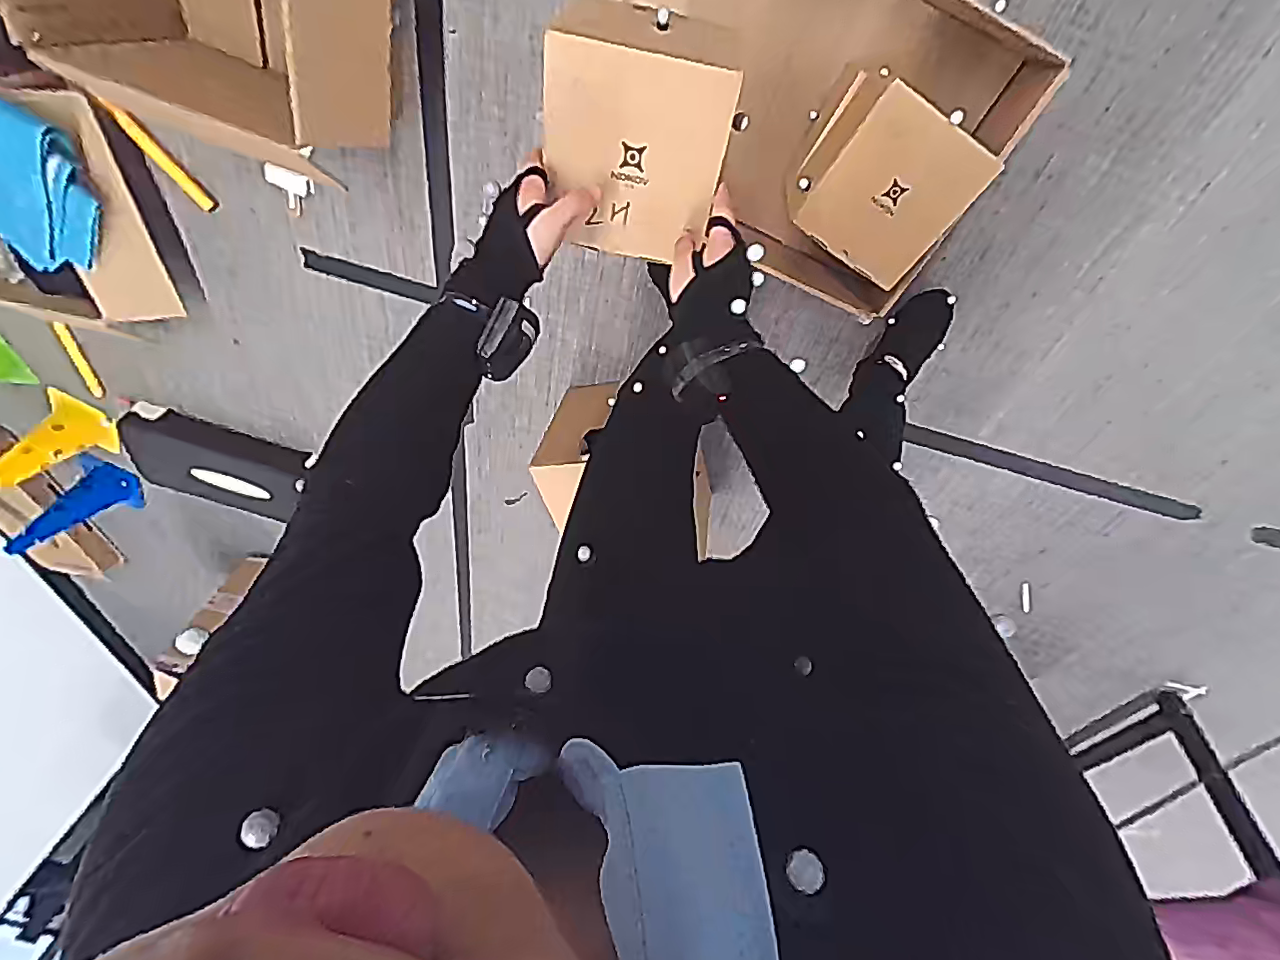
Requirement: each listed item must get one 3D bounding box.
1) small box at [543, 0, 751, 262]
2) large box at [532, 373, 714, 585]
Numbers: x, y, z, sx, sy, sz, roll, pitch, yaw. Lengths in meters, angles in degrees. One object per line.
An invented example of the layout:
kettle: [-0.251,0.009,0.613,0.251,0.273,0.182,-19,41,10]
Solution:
small box: [0.004,-0.358,0.548,0.168,0.176,0.179,12,140,-3]
large box: [-0.011,0.005,1.318,0.320,0.320,0.408,-5,131,17]
